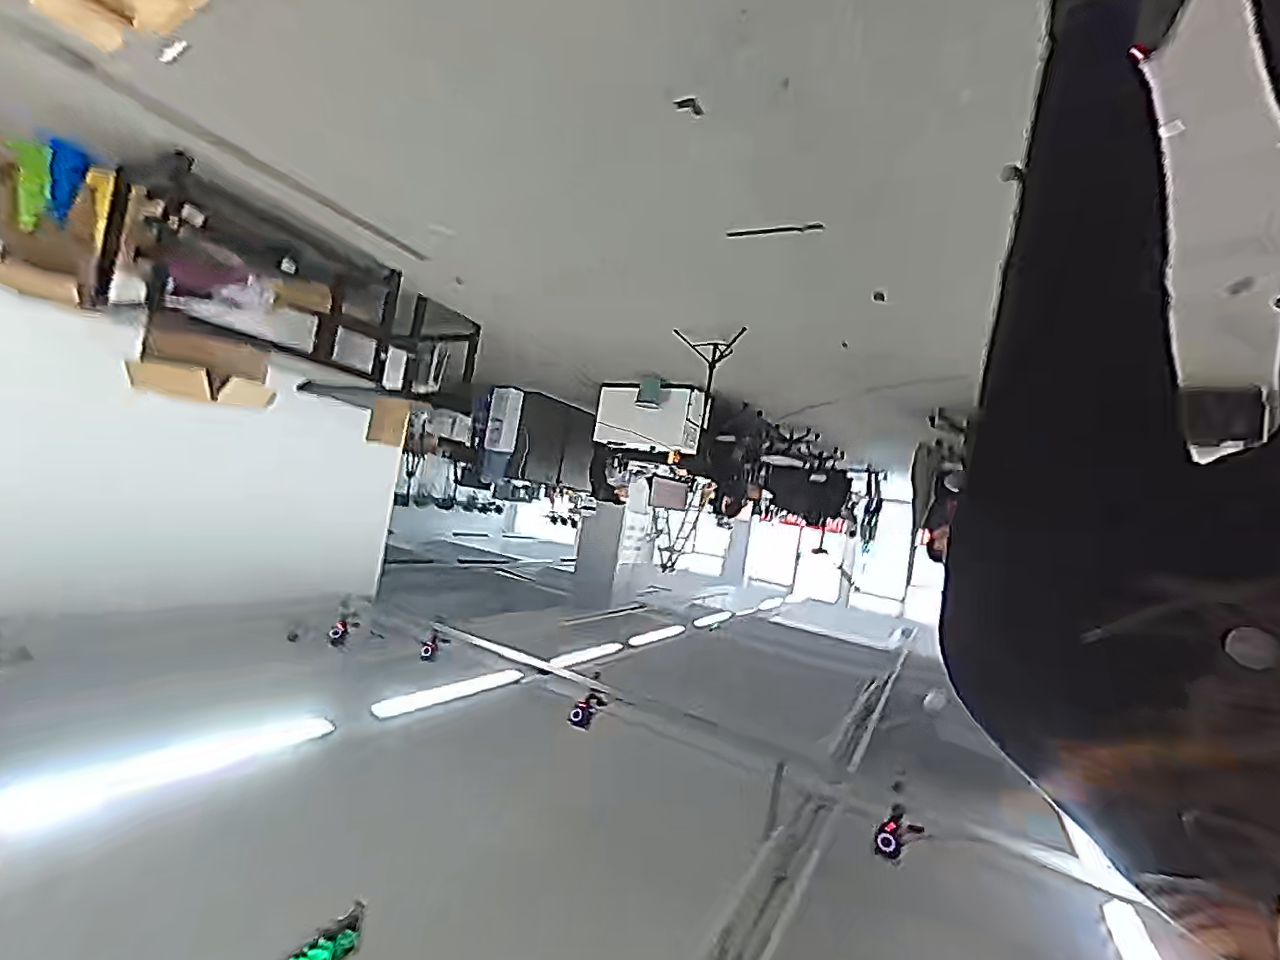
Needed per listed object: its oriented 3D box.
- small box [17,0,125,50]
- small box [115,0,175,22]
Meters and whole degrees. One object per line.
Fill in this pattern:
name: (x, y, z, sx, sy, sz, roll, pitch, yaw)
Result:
small box: (-1.468, -1.286, 1.405, 0.179, 0.176, 0.168, 7, 178, 31)
small box: (-1.216, -1.254, 1.276, 0.179, 0.176, 0.168, 6, 177, 32)
